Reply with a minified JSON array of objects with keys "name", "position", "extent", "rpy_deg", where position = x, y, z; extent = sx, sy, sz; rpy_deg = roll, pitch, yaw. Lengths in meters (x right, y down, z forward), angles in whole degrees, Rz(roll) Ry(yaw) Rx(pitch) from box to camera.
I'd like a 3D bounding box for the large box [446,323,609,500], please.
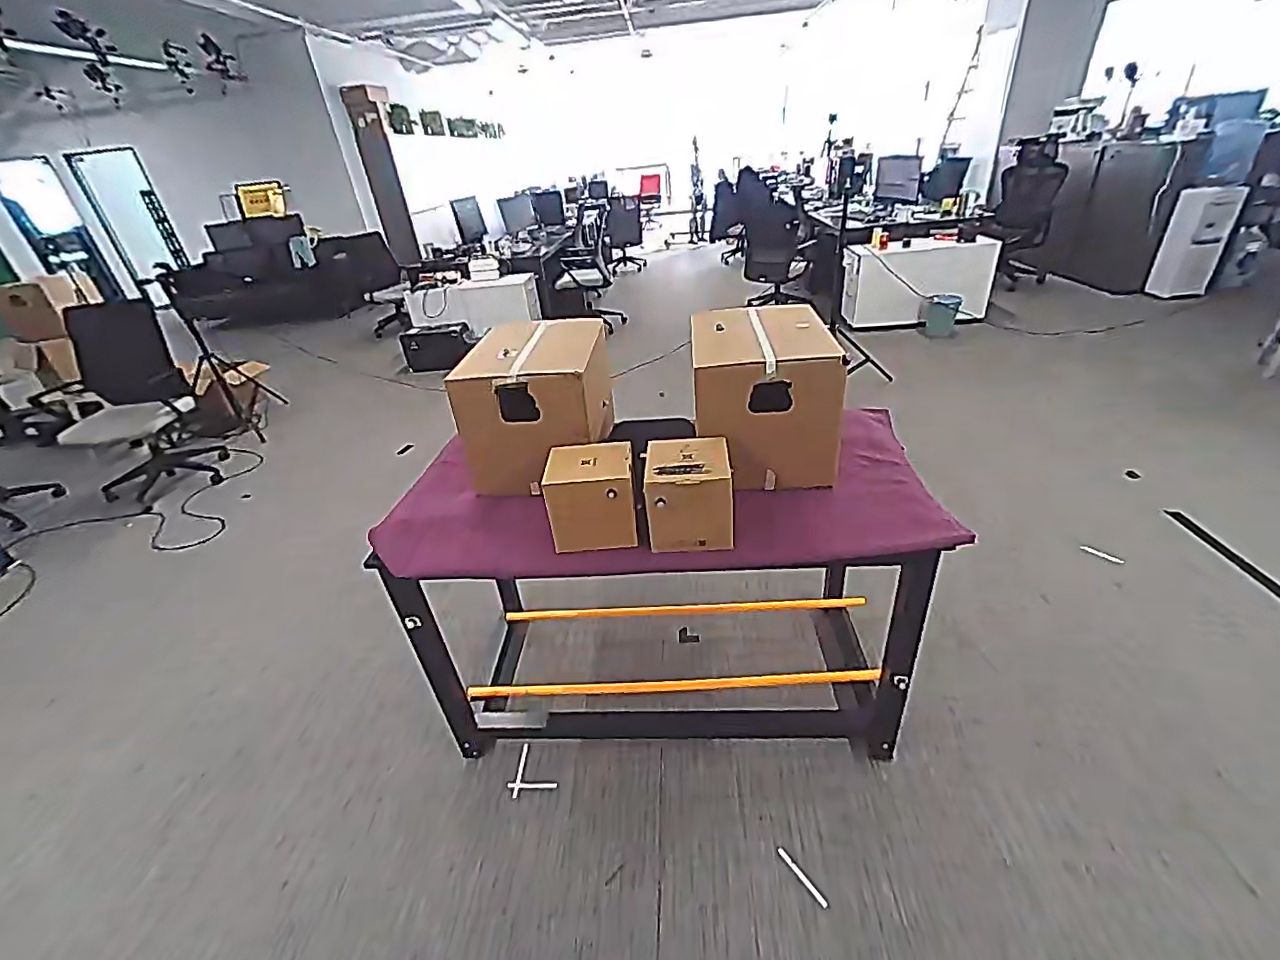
[{"name":"large box","position":[-0.259,-0.190,1.417],"extent":[0.320,0.320,0.408],"rpy_deg":[-3,34,5]}]
